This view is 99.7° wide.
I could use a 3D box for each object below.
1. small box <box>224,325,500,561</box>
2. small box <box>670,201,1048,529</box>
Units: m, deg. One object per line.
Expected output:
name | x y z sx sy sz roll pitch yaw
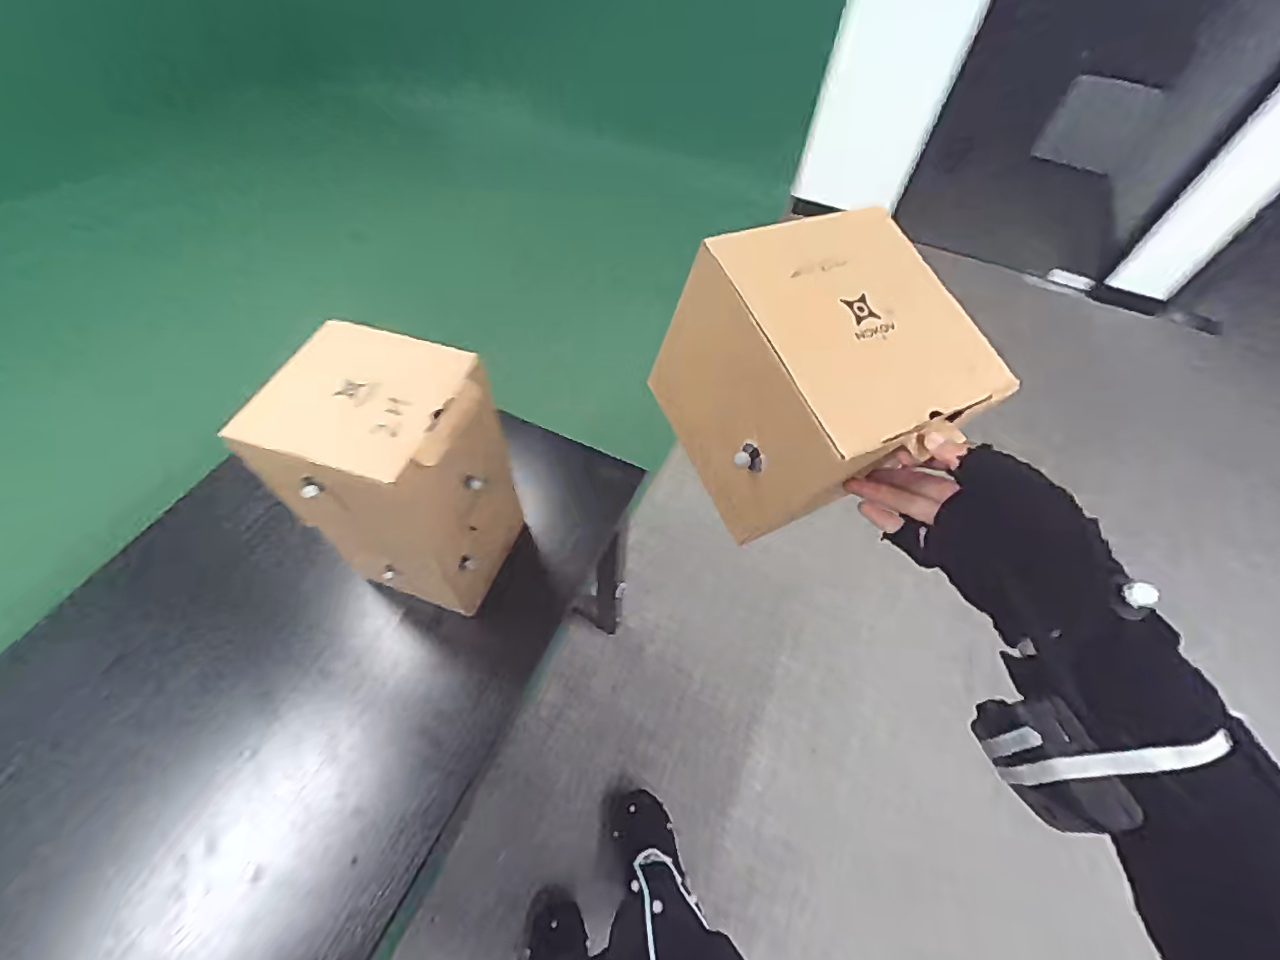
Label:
small box | -0.273 -0.033 0.581 0.179 0.176 0.168 16 57 7
small box | 0.144 -0.076 0.420 0.168 0.176 0.179 -19 72 -20
